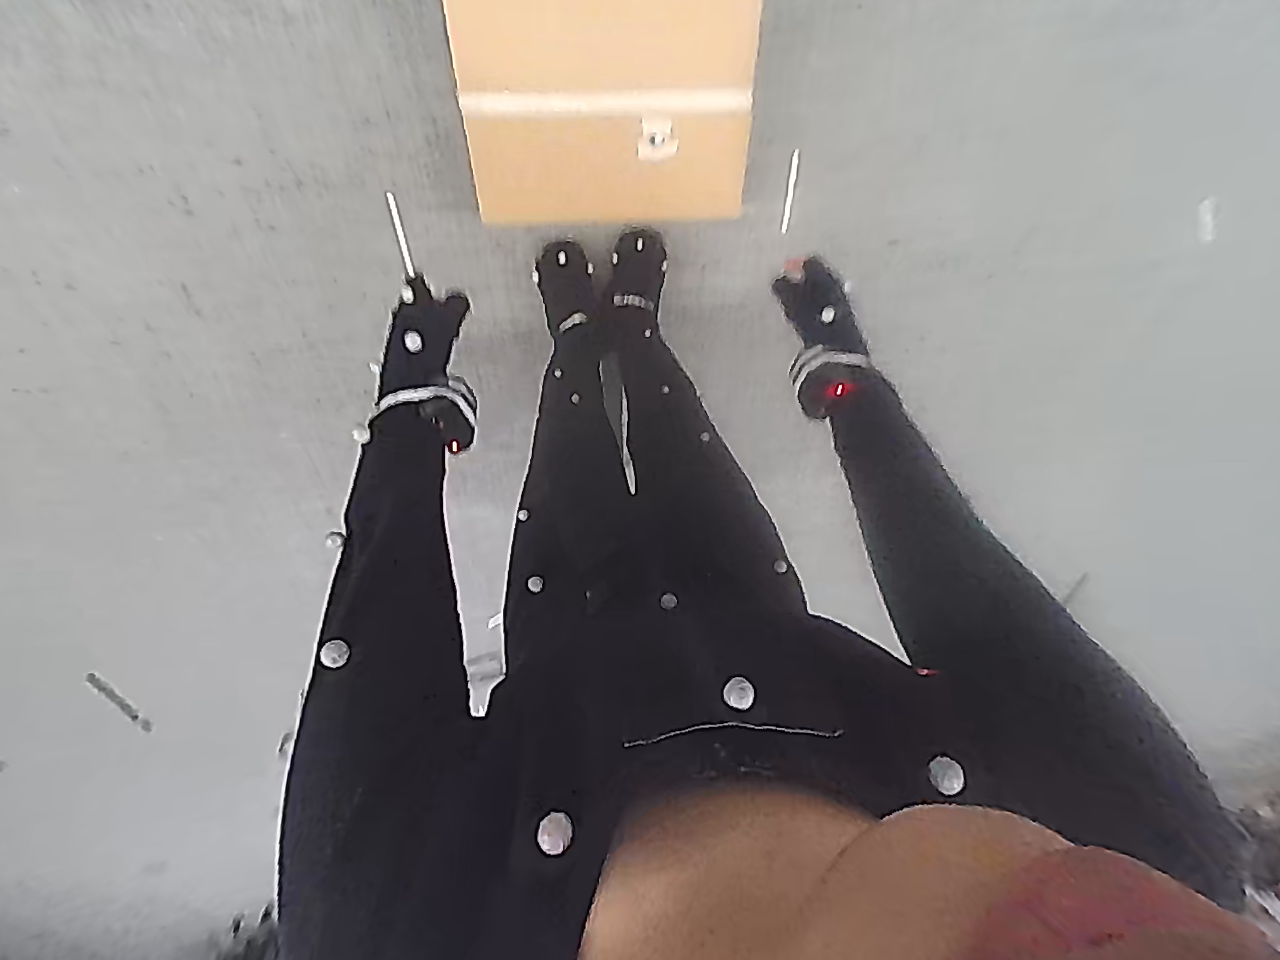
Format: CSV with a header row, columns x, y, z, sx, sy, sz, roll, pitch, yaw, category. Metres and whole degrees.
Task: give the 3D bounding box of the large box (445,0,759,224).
x,y,z,sx,sy,sz,roll,pitch,yaw,category
-0.061,-0.621,0.860,0.408,0.320,0.320,-5,131,-6,large box
